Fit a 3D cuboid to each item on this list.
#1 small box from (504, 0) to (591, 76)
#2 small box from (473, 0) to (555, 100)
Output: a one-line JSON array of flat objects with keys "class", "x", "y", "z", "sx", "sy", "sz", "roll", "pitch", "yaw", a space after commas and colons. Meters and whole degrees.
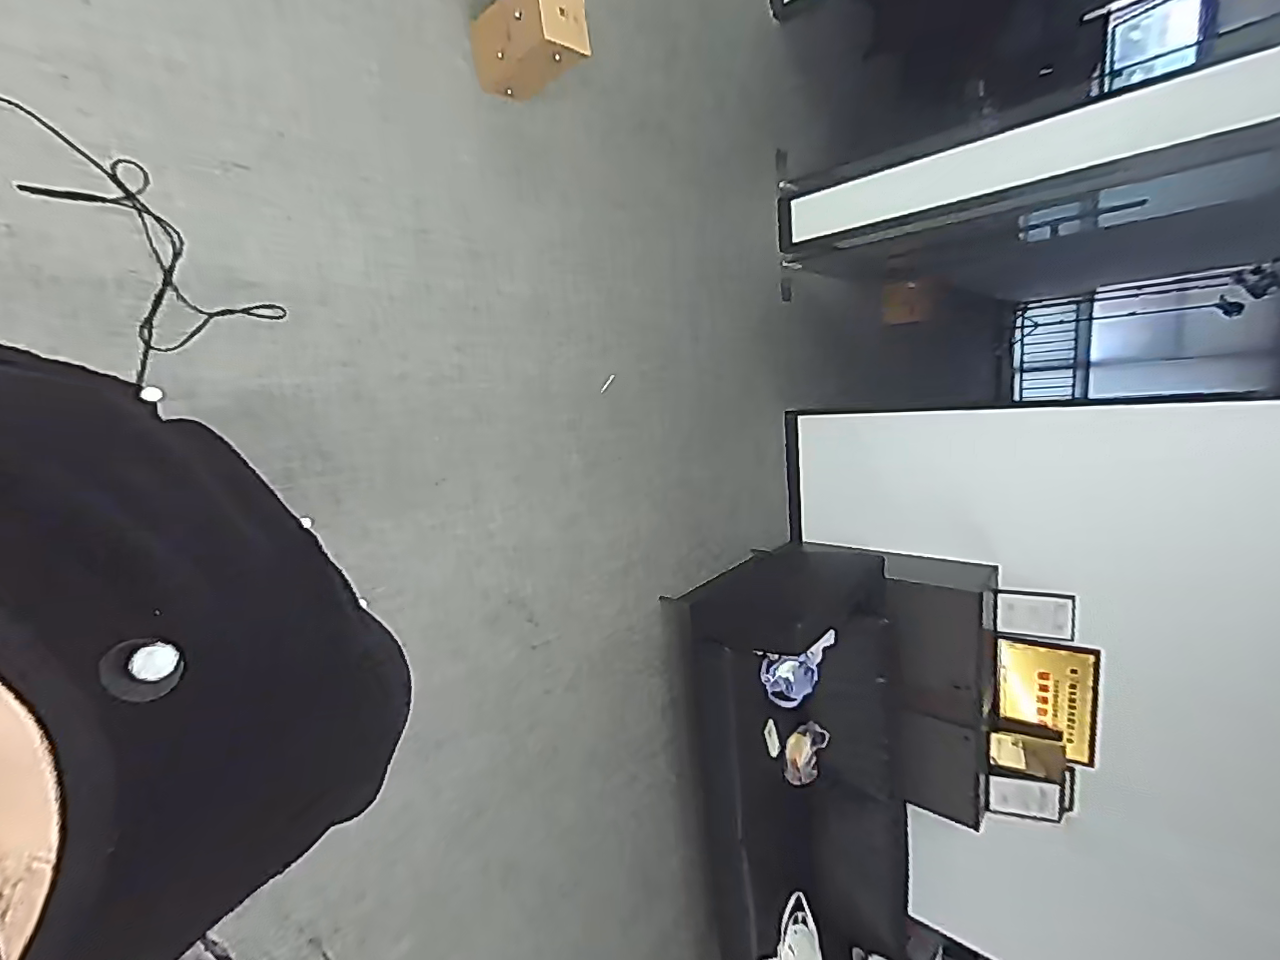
[{"class": "small box", "x": -0.267, "y": -1.292, "z": 1.538, "sx": 0.179, "sy": 0.176, "sz": 0.168, "roll": -22, "pitch": 110, "yaw": -45}, {"class": "small box", "x": -0.387, "y": -1.306, "z": 1.651, "sx": 0.168, "sy": 0.176, "sz": 0.179, "roll": -22, "pitch": 110, "yaw": -44}]
